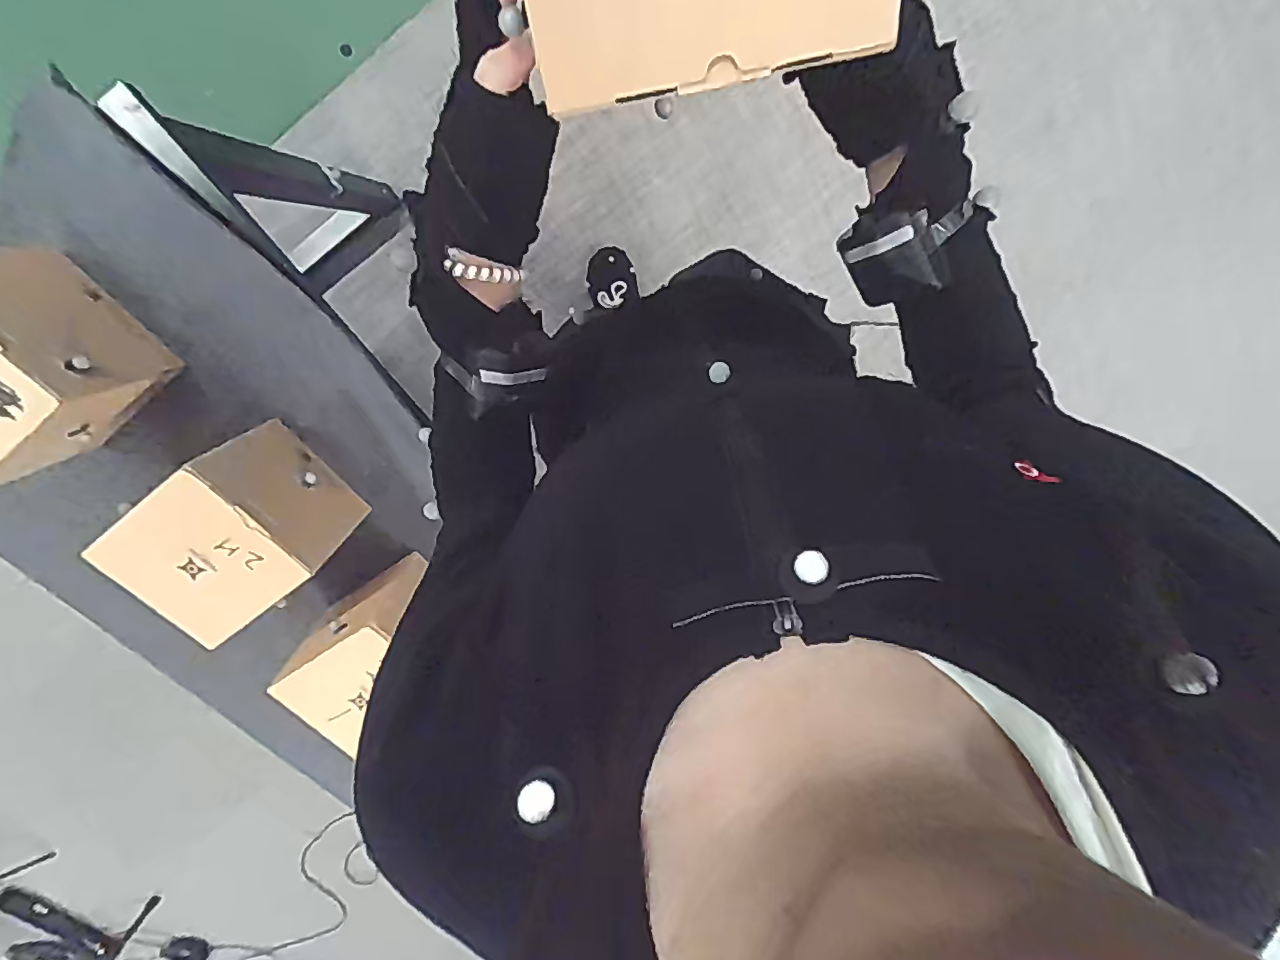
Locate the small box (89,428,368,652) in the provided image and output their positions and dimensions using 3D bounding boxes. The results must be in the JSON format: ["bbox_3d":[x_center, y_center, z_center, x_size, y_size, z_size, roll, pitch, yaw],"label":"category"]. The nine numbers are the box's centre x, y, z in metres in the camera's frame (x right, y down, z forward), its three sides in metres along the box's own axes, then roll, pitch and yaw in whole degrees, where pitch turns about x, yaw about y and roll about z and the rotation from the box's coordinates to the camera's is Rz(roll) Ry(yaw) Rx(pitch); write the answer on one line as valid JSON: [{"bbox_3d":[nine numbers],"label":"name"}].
[{"bbox_3d":[-0.477,0.065,0.660,0.179,0.176,0.168,-34,111,11],"label":"small box"}]

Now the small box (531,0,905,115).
[{"bbox_3d":[0.018,-0.299,0.268,0.168,0.176,0.179,-12,126,0],"label":"small box"}]

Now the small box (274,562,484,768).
[{"bbox_3d":[-0.337,0.244,0.745,0.179,0.176,0.168,-33,110,11],"label":"small box"}]
